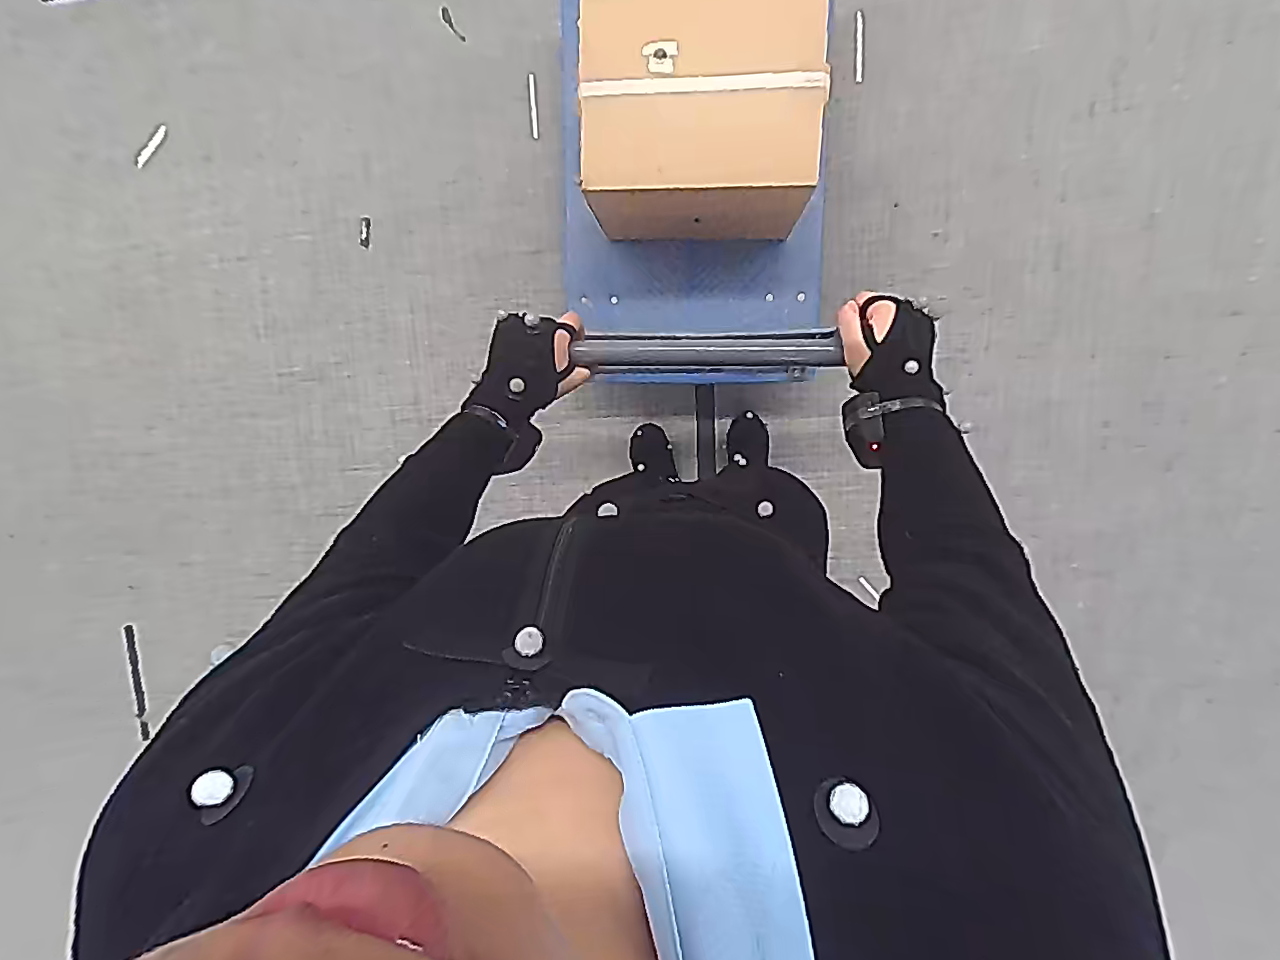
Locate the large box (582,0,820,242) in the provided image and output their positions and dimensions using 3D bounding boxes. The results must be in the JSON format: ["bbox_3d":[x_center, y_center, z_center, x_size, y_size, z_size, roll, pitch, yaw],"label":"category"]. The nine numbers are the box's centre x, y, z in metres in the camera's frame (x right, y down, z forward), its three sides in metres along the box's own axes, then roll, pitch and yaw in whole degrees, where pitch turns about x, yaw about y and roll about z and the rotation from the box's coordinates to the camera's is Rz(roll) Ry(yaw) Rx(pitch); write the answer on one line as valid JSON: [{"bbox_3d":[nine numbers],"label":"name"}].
[{"bbox_3d":[0.116,-0.675,1.065,0.408,0.320,0.320,1,98,6],"label":"large box"}]
